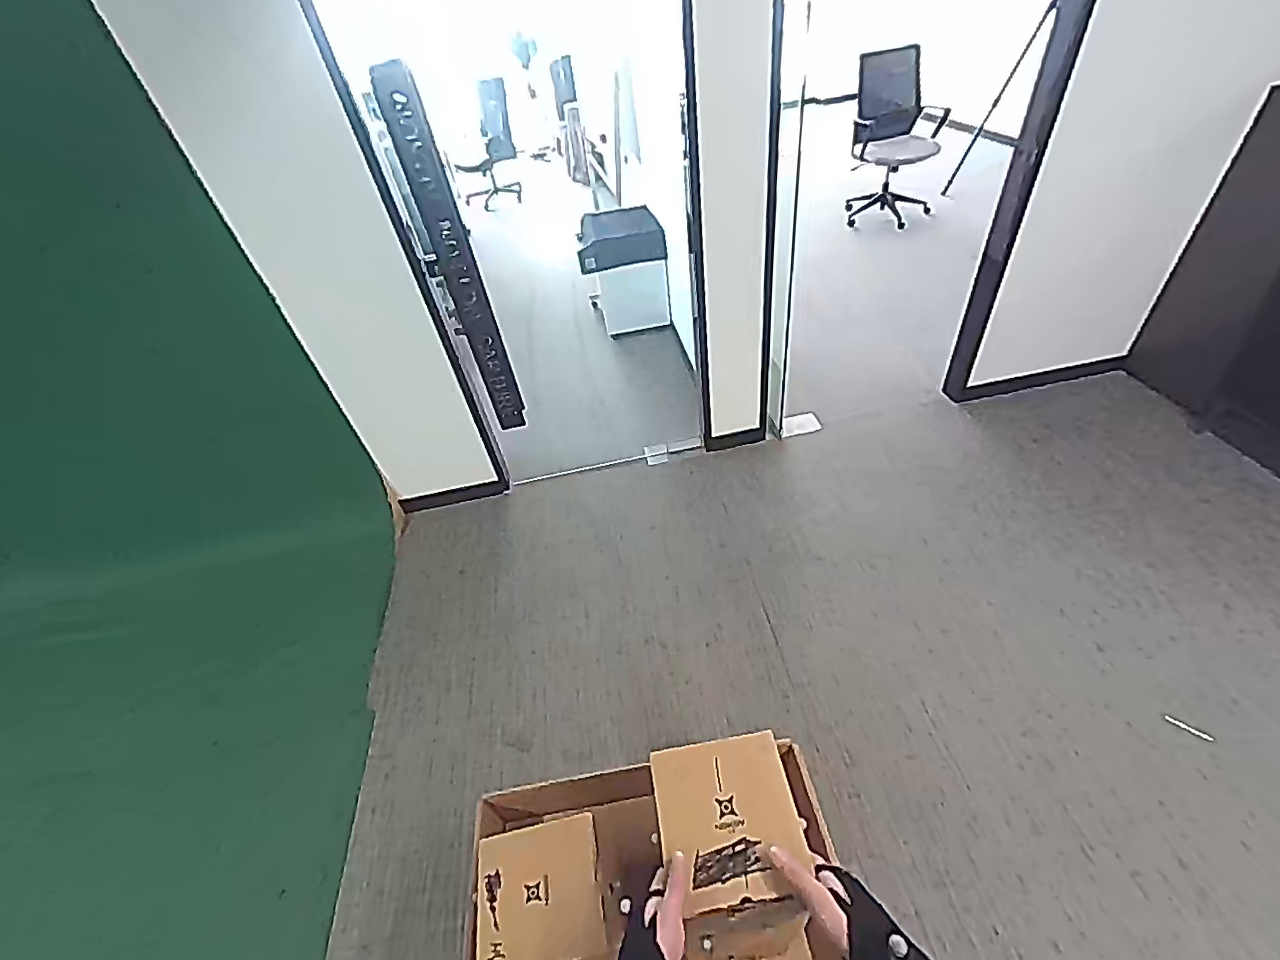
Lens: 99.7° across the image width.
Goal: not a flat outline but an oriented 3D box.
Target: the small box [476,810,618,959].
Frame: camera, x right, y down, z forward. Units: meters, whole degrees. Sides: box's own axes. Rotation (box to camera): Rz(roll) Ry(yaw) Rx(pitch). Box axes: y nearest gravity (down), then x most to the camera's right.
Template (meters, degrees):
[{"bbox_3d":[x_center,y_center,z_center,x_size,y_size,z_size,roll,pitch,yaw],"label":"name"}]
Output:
[{"bbox_3d":[-0.130,0.619,0.799,0.179,0.176,0.168,-11,43,-4],"label":"small box"}]

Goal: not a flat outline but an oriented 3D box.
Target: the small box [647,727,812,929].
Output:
[{"bbox_3d":[0.108,0.451,0.696,0.168,0.176,0.179,-10,42,-1],"label":"small box"}]

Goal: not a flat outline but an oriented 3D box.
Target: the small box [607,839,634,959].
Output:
[{"bbox_3d":[-0.113,0.737,0.911,0.179,0.176,0.168,-9,43,-3],"label":"small box"}]
